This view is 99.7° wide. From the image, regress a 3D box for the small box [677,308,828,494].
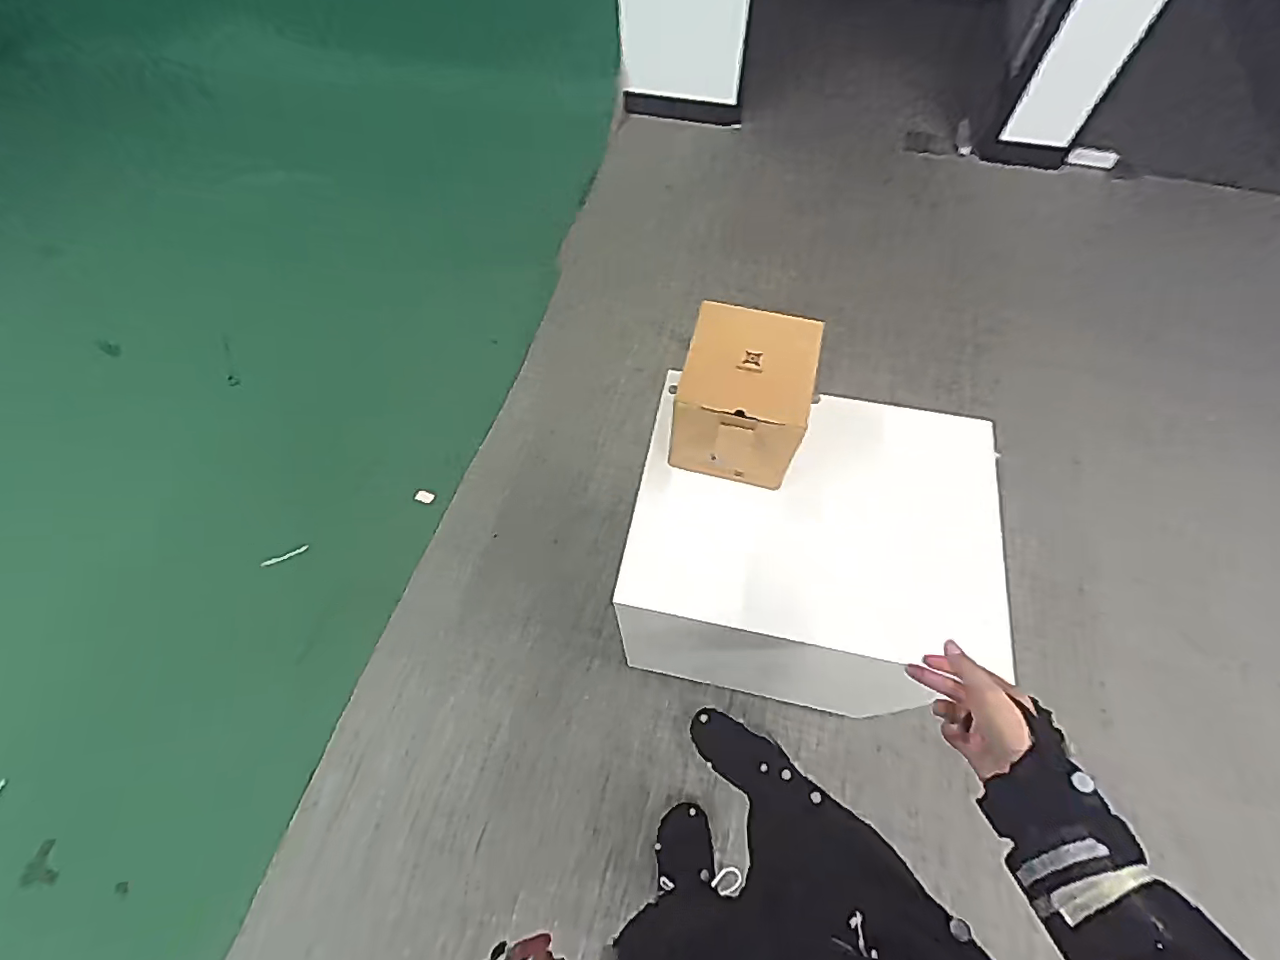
[{"bbox_3d":[0.150,-0.105,0.761,0.168,0.176,0.179,13,64,8],"label":"small box"}]
